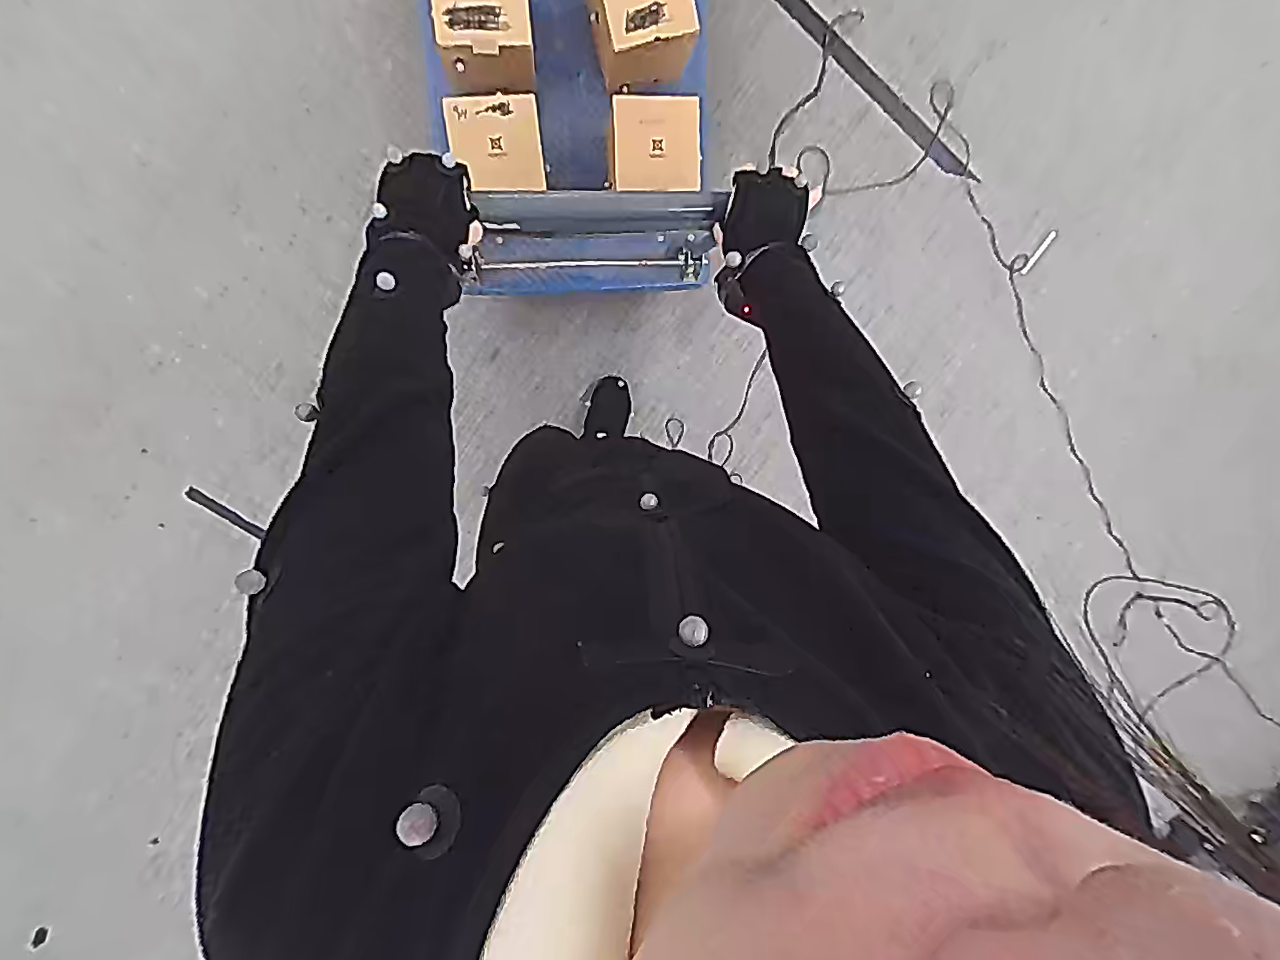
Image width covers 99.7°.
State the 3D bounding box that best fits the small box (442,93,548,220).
[{"bbox_3d":[-0.273,-0.621,1.060,0.168,0.176,0.179,-8,103,-7],"label":"small box"}]

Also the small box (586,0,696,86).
[{"bbox_3d":[-0.004,-0.899,1.043,0.168,0.176,0.179,-16,102,-5],"label":"small box"}]

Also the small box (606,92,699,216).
[{"bbox_3d":[0.021,-0.649,1.098,0.168,0.176,0.179,-4,101,-8],"label":"small box"}]
